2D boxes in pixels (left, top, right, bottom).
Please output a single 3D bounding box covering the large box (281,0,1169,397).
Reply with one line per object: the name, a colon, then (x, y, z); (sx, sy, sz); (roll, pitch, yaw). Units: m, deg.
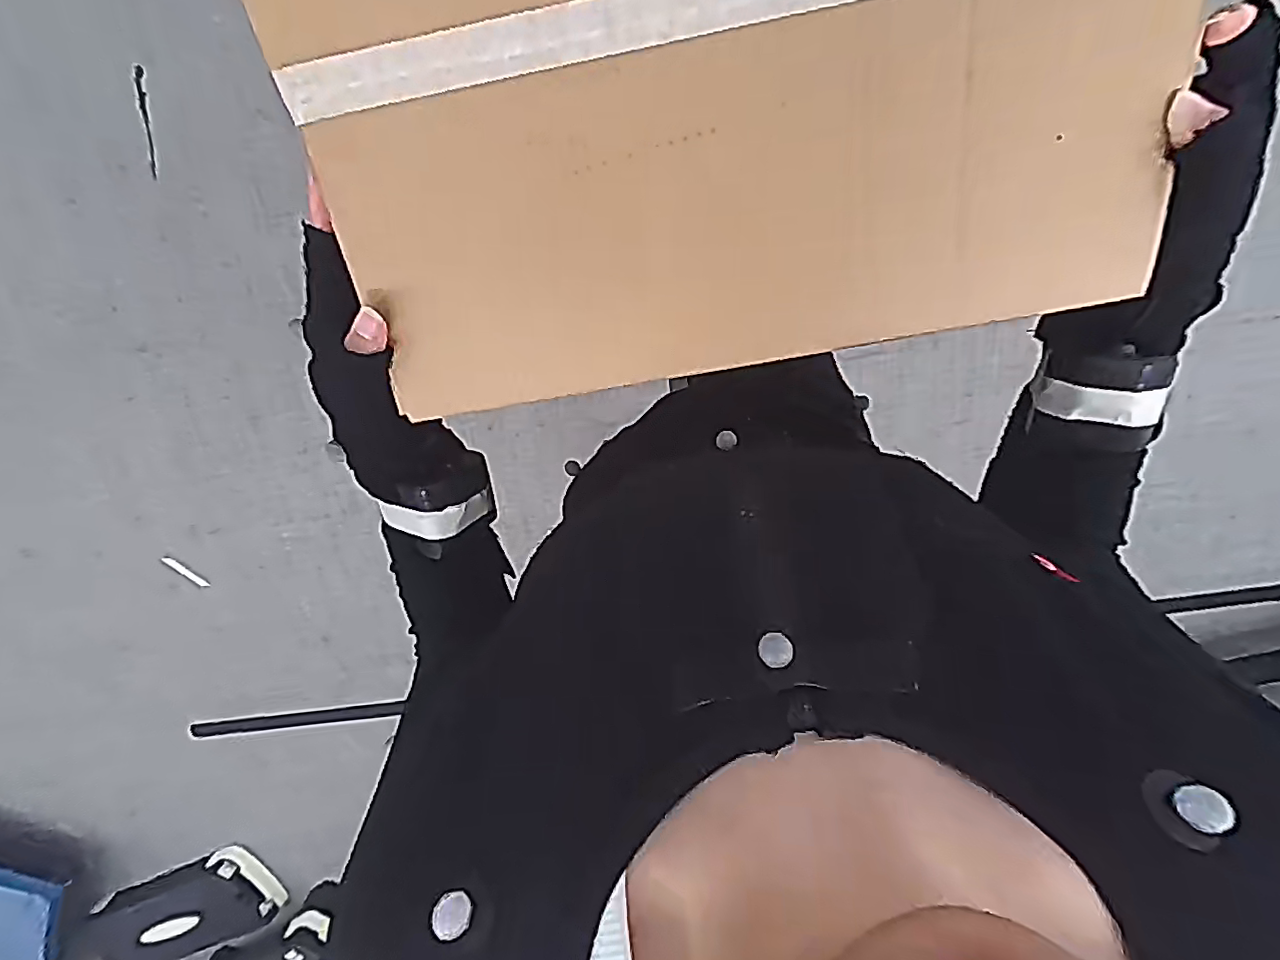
large box: (0.036, -0.278, 0.382); (0.408, 0.320, 0.320); (-9, 114, 4)
